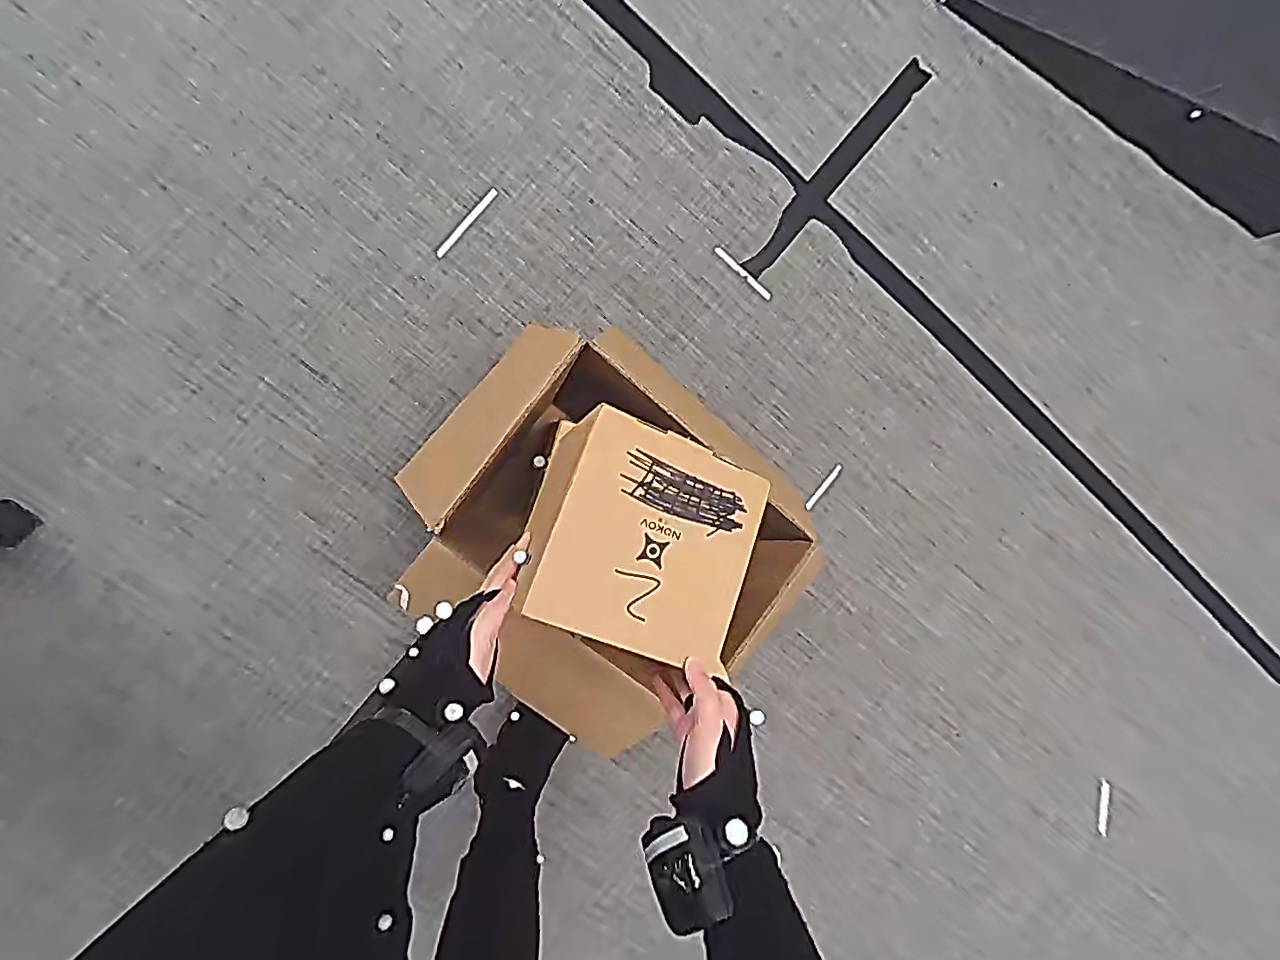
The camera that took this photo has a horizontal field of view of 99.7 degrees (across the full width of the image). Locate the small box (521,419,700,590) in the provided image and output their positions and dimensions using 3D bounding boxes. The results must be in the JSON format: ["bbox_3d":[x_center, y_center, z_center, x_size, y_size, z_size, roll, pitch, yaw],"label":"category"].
[{"bbox_3d":[-0.049,0.025,0.719,0.179,0.176,0.168,18,93,-14],"label":"small box"}]
